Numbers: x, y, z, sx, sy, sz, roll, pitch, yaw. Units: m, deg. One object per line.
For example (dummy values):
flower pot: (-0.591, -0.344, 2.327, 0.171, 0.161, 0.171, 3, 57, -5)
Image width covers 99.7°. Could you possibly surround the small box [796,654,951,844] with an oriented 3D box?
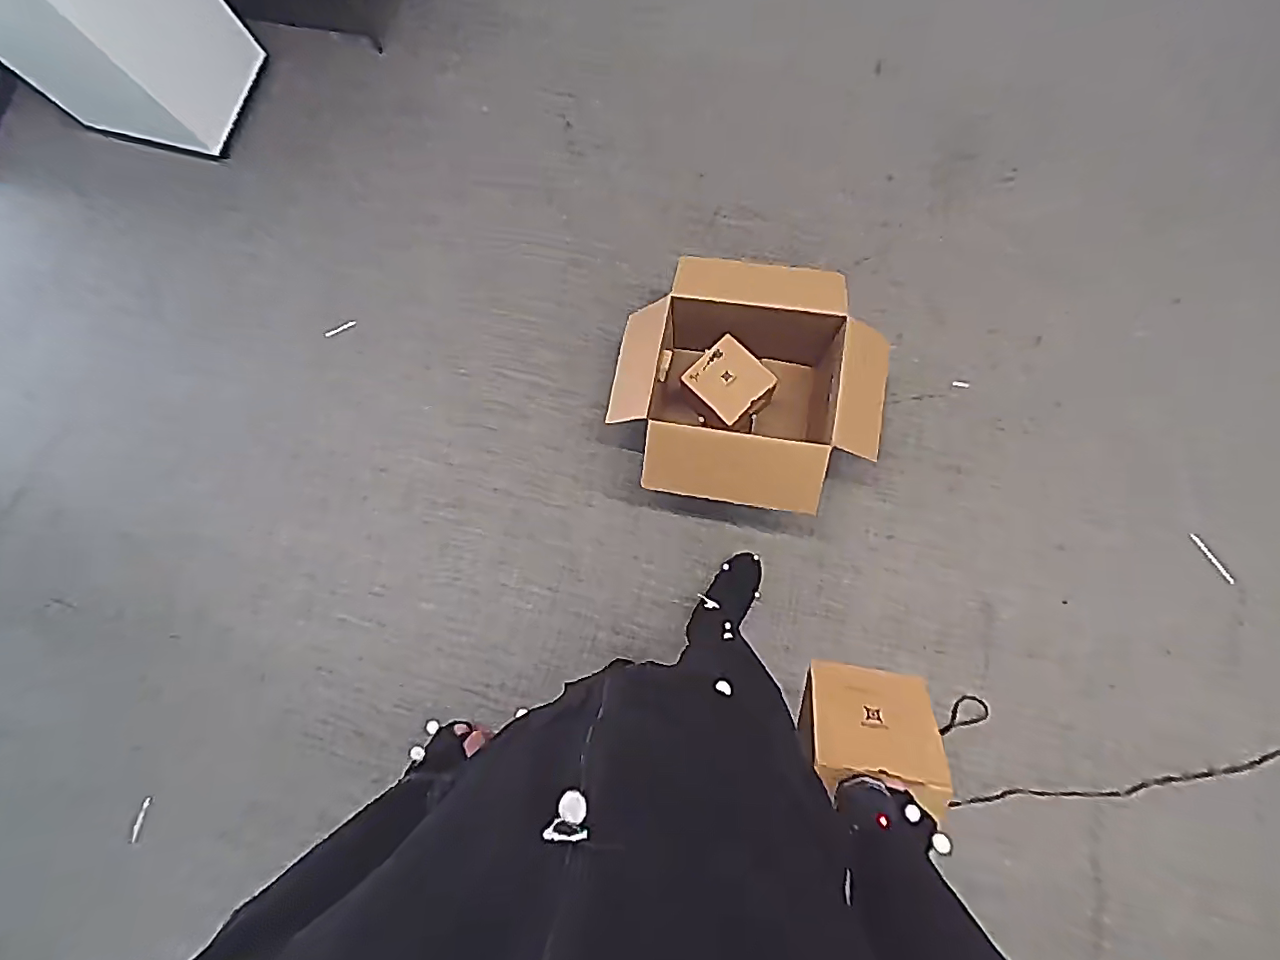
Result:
small box: (0.324, 0.389, 0.790, 0.168, 0.179, 0.176, 6, 119, 10)
